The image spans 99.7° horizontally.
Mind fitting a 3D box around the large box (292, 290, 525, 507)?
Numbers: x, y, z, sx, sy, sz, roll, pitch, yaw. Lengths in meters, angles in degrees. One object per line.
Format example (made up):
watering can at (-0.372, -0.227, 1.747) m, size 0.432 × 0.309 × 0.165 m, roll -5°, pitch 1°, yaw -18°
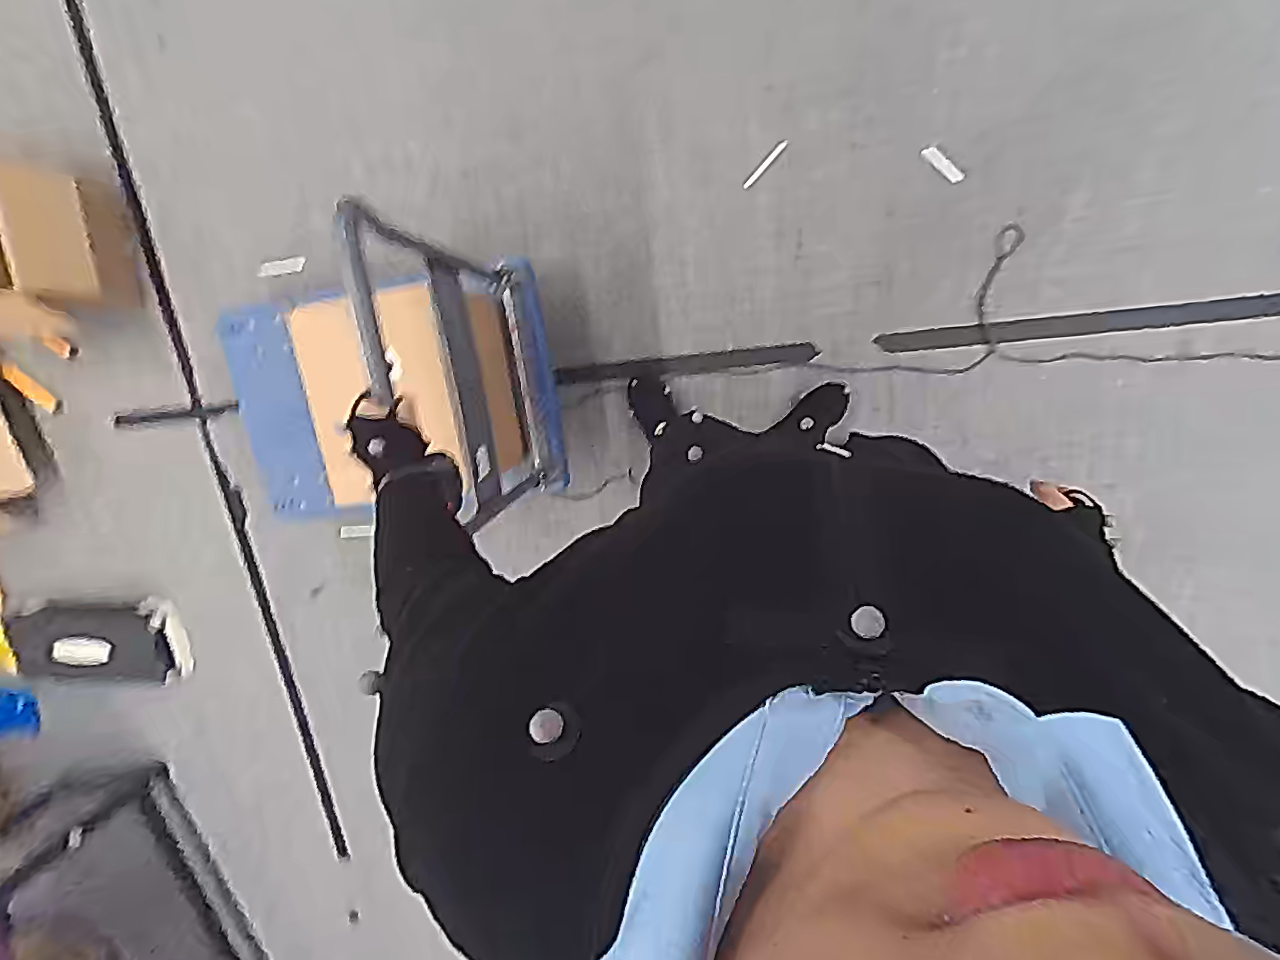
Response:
large box at (-0.492, -0.181, 1.228) m, size 0.320 × 0.320 × 0.408 m, roll -6°, pitch 101°, yaw 10°
